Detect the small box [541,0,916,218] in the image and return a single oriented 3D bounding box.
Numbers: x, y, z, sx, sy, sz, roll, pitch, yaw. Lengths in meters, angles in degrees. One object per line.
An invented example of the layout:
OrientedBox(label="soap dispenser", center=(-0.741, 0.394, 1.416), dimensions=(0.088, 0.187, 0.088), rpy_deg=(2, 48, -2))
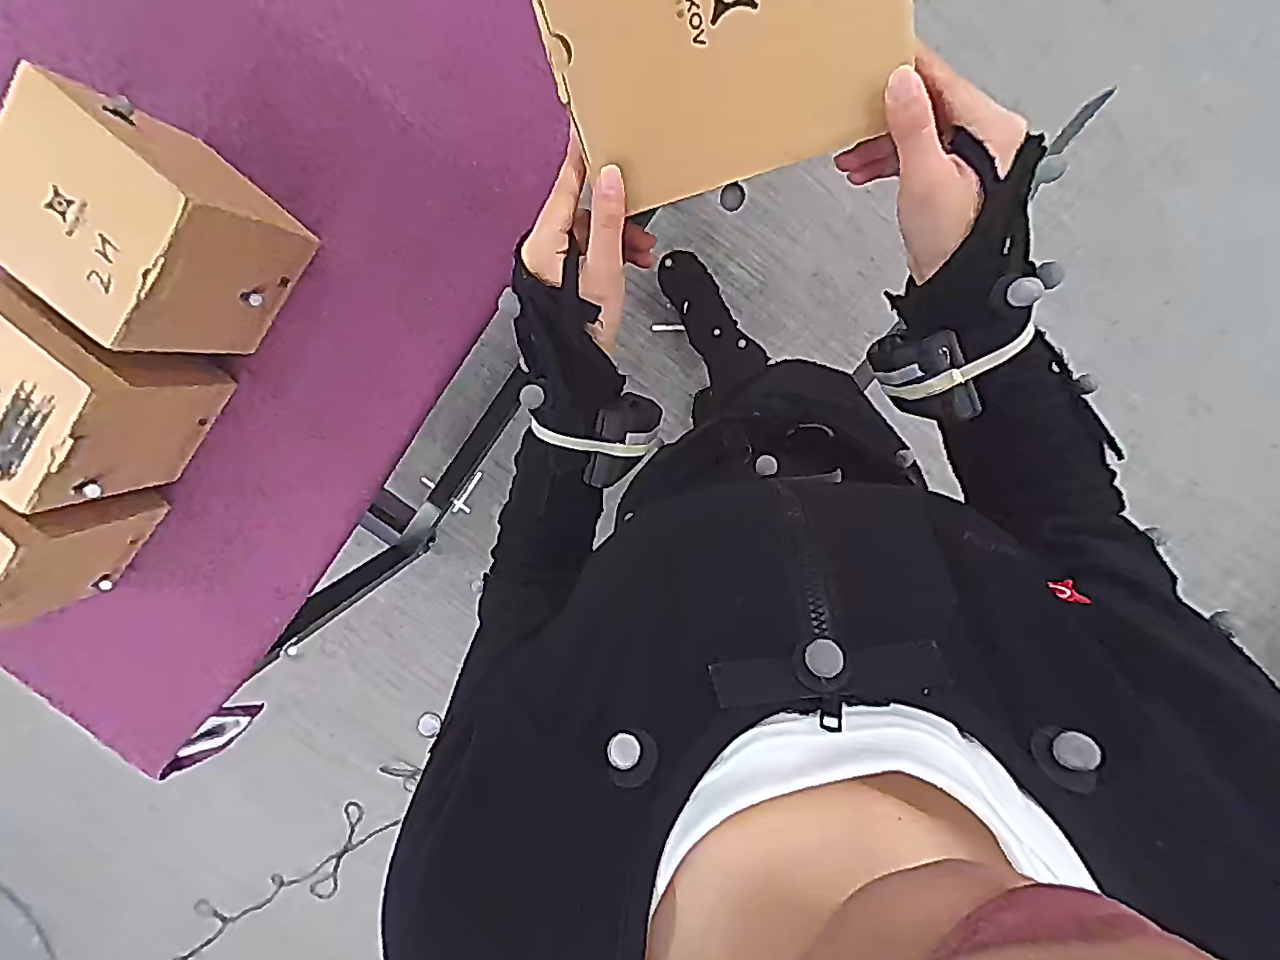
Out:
OrientedBox(label="small box", center=(0.043, -0.277, 0.326), dimensions=(0.179, 0.176, 0.168), rpy_deg=(-12, 119, 11))
